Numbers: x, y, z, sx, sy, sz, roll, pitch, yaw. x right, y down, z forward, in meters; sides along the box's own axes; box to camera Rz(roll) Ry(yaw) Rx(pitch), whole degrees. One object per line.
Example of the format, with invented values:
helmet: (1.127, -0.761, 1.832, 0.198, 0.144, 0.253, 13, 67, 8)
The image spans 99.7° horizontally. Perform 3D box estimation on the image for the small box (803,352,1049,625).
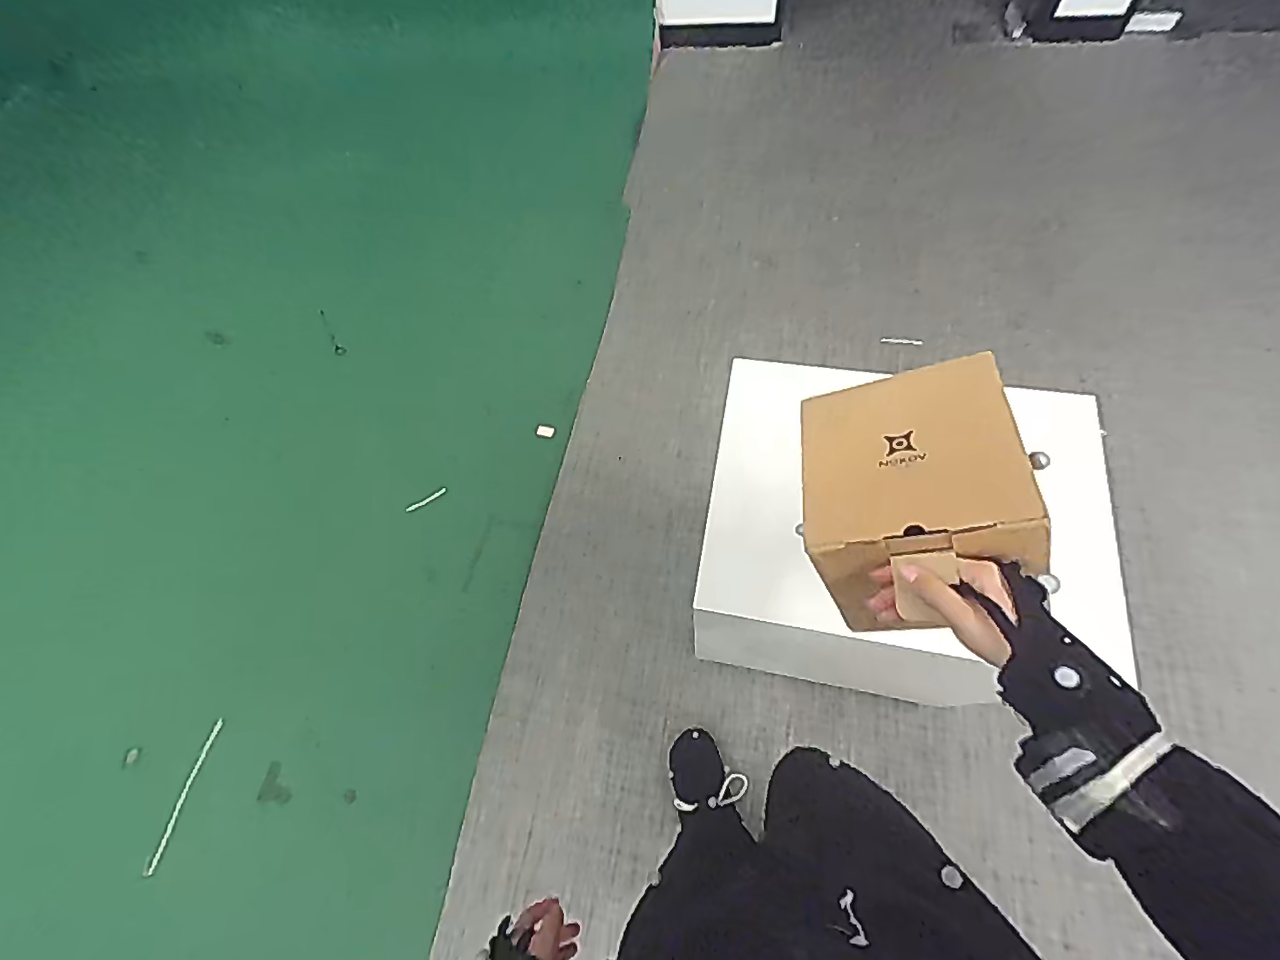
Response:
small box: (0.256, 0.017, 0.505, 0.168, 0.176, 0.179, -12, 48, 27)
